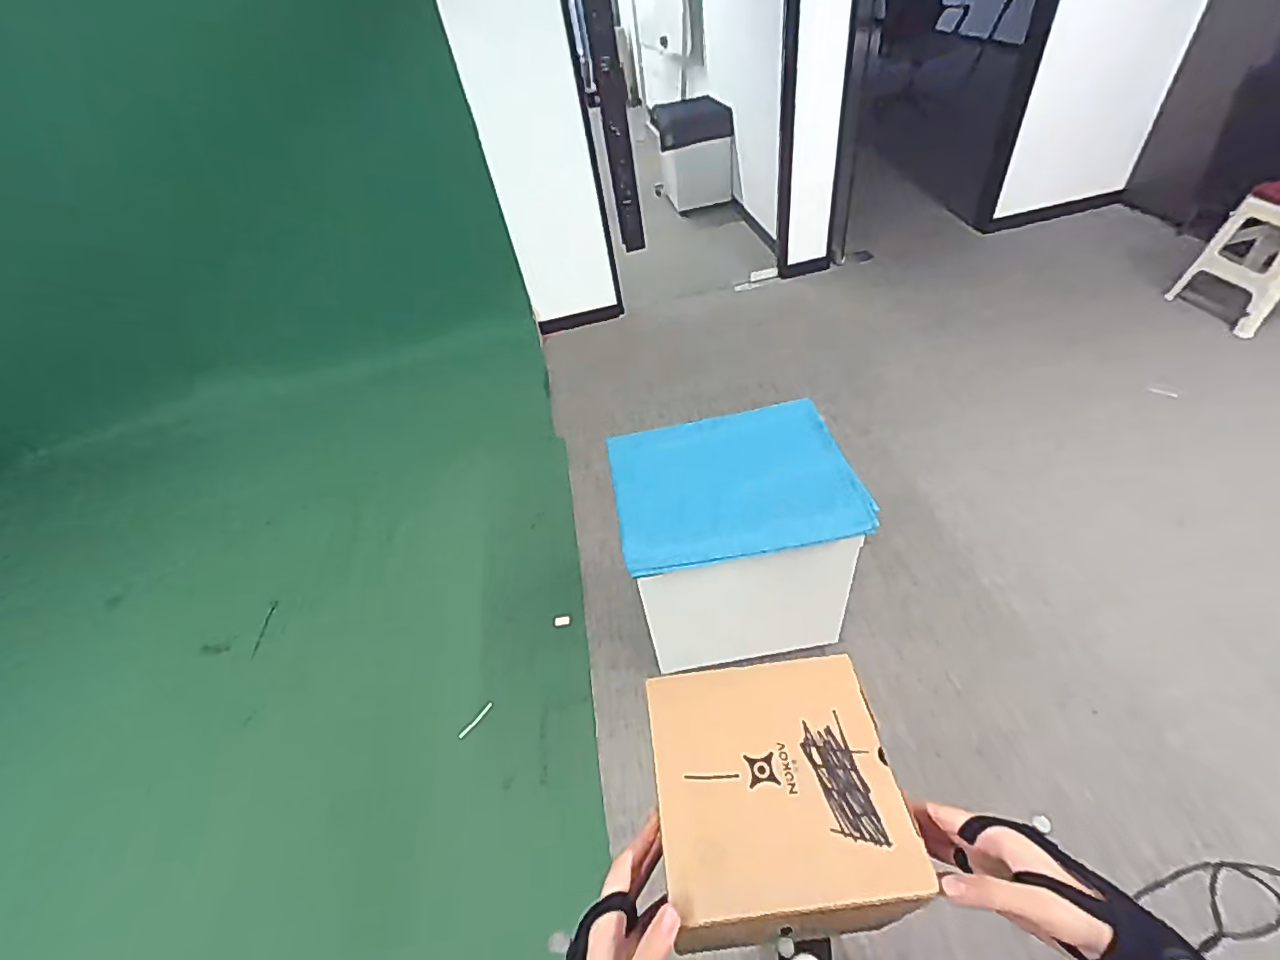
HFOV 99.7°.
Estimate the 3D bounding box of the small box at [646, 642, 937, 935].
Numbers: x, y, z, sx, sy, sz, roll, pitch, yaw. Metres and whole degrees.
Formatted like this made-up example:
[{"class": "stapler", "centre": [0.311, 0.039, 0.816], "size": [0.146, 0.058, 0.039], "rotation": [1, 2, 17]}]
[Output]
[{"class": "small box", "centre": [0.100, 0.257, 0.450], "size": [0.179, 0.176, 0.168], "rotation": [-6, 44, -1]}]
